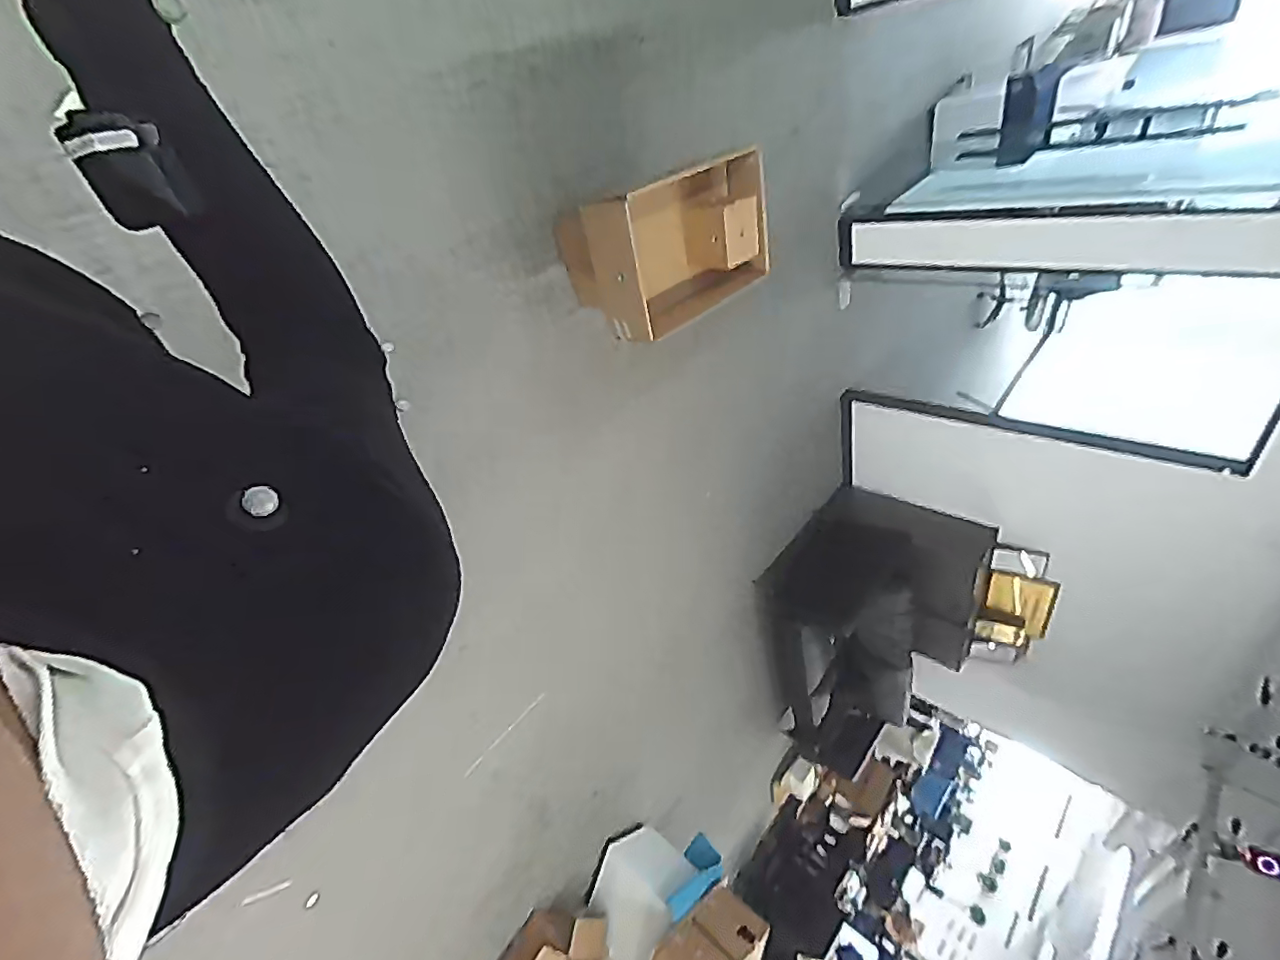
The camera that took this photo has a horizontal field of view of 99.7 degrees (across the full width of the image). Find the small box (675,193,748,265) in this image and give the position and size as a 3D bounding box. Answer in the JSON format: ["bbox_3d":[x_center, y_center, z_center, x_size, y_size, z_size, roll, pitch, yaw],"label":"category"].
[{"bbox_3d":[0.225,-0.798,1.721,0.168,0.176,0.179,-37,132,-32],"label":"small box"}]
